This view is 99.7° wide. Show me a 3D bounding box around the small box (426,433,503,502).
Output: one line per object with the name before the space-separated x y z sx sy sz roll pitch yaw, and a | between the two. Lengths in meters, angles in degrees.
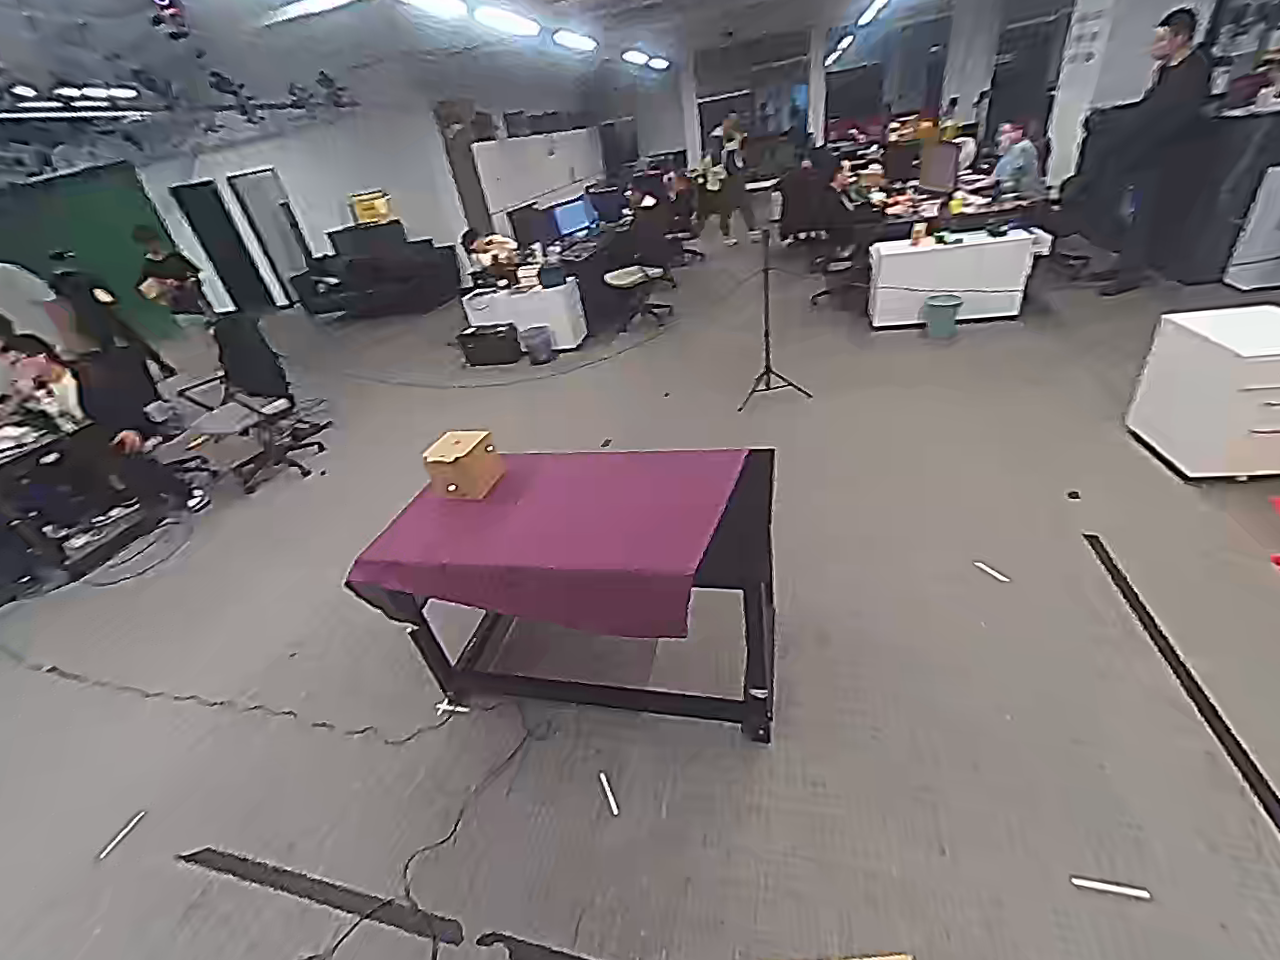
small box | -0.585 -0.045 1.835 0.168 0.176 0.179 1 35 18
